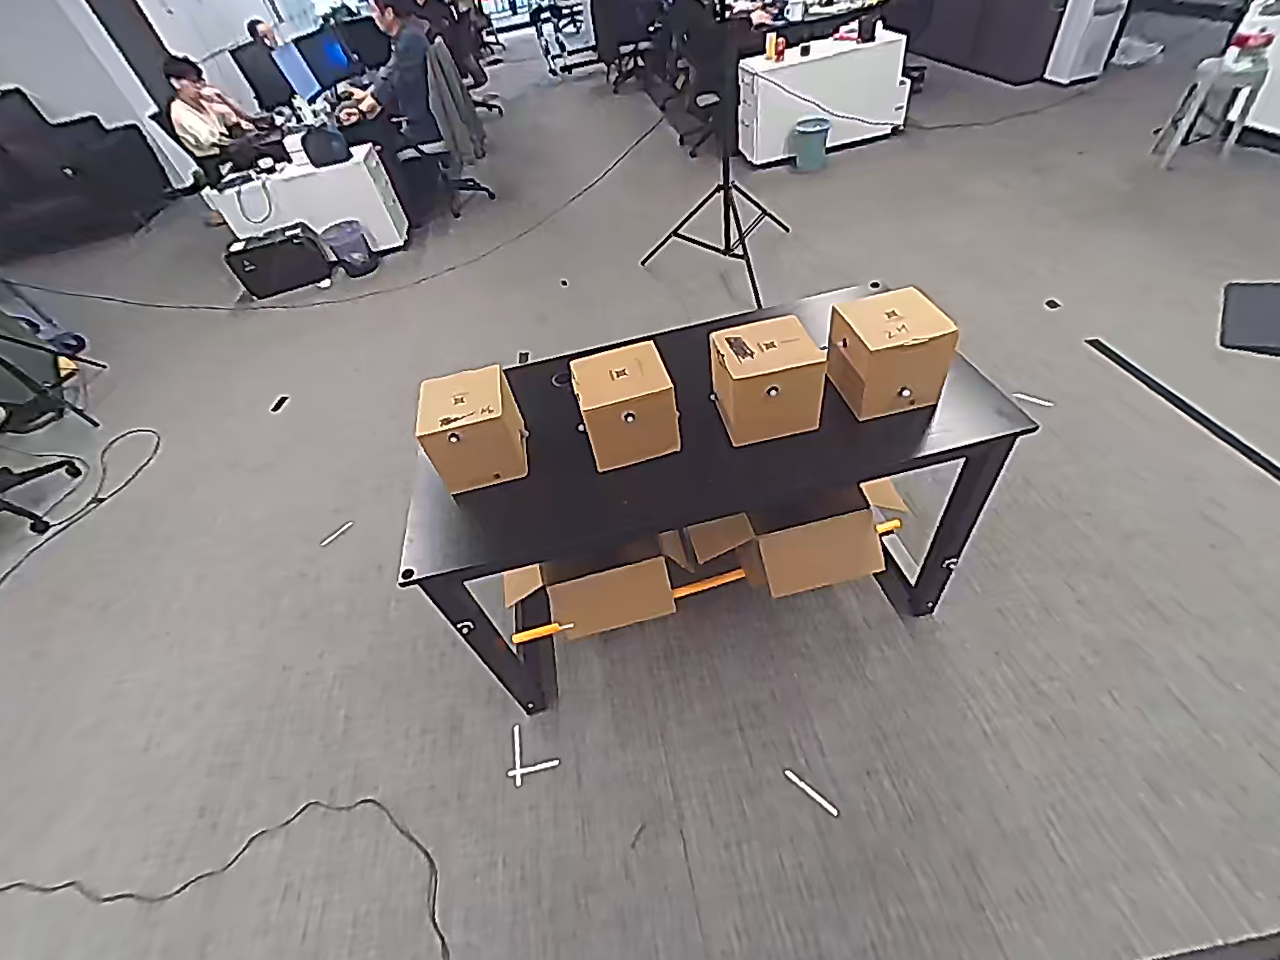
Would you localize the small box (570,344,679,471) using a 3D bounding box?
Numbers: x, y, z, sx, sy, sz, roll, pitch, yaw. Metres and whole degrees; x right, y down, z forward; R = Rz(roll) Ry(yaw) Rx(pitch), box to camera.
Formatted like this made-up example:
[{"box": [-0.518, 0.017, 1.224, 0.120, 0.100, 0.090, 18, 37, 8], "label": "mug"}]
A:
[{"box": [-0.029, -0.141, 1.088, 0.179, 0.176, 0.168, -15, 47, -3], "label": "small box"}]

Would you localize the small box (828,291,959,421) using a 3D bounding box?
[{"box": [0.486, -0.244, 1.071, 0.168, 0.176, 0.179, -13, 46, 1], "label": "small box"}]

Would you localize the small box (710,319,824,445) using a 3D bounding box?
[{"box": [0.247, -0.189, 1.072, 0.179, 0.176, 0.168, -12, 46, 1], "label": "small box"}]

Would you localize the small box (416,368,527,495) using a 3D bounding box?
[{"box": [-0.336, -0.098, 1.108, 0.168, 0.176, 0.179, -14, 46, -2], "label": "small box"}]
